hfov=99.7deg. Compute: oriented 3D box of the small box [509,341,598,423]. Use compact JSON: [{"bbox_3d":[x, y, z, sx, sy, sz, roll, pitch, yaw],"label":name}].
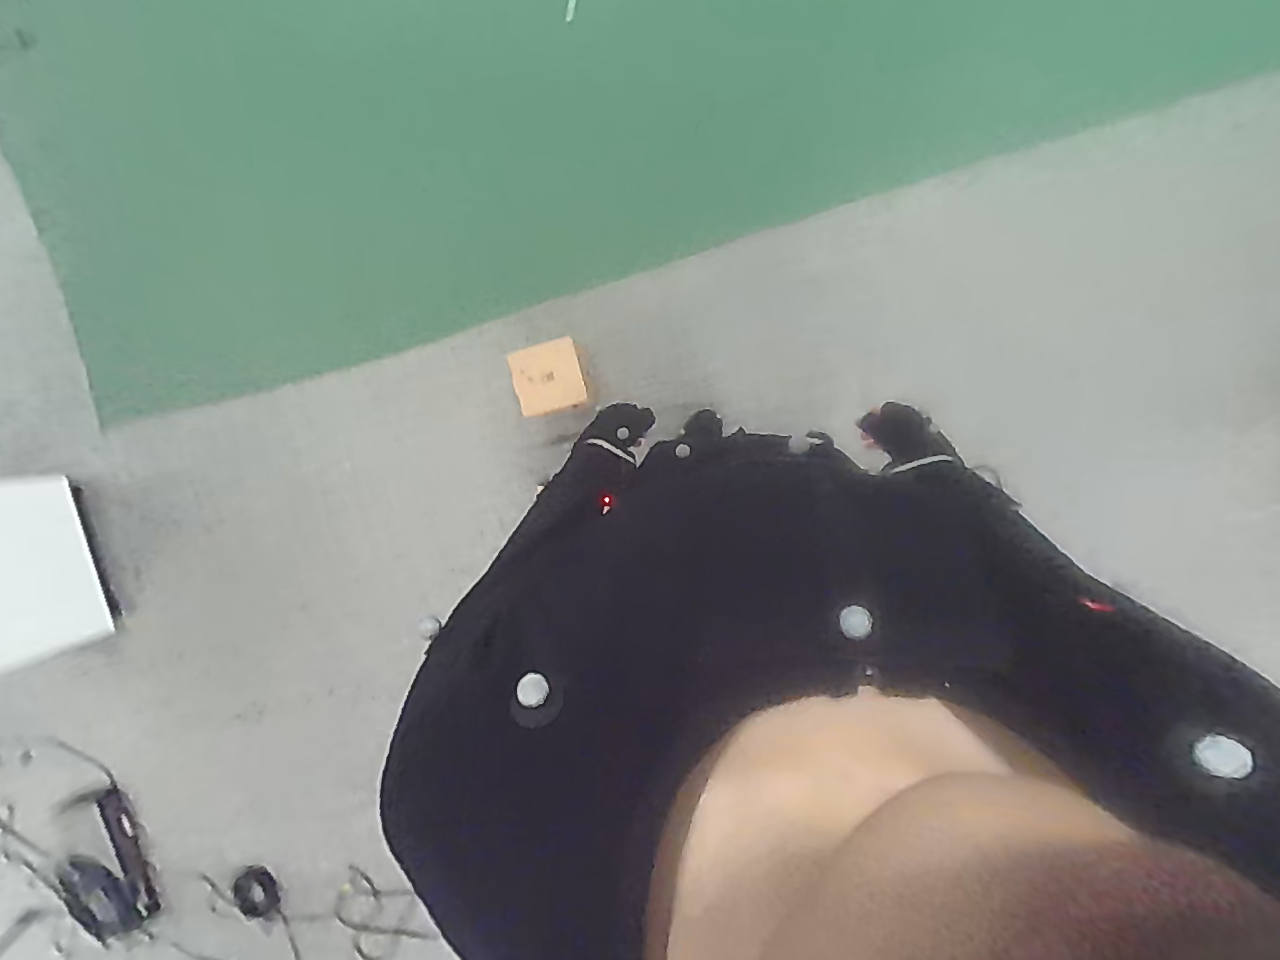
[{"bbox_3d":[-0.216,-0.251,1.414,0.179,0.176,0.168,-14,93,8],"label":"small box"}]
